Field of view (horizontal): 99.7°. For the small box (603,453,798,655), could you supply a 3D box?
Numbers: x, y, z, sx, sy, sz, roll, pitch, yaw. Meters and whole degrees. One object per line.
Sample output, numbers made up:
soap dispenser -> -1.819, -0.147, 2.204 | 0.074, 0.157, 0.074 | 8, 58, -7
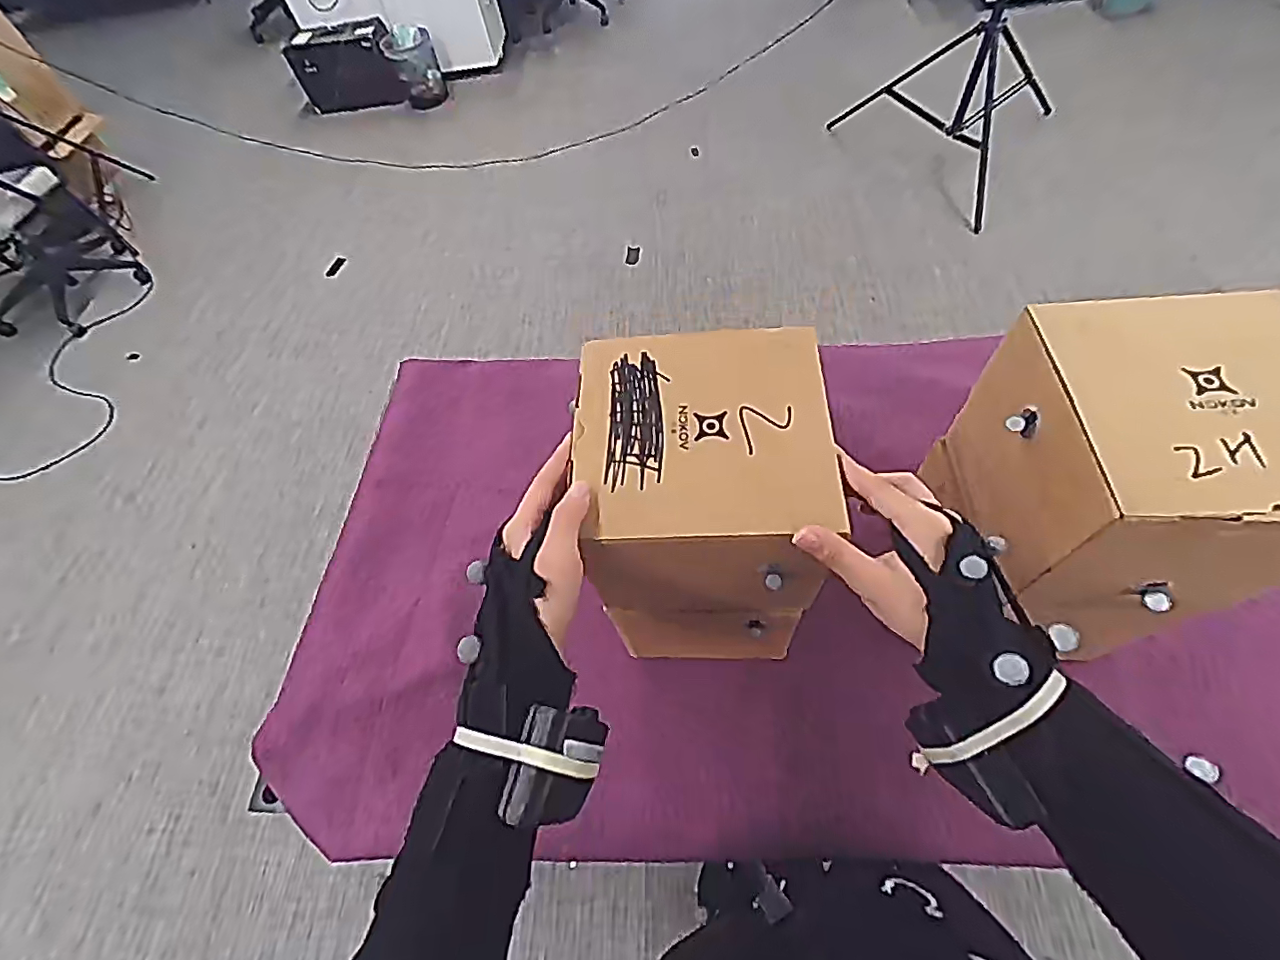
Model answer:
small box -> 0.065, 0.087, 0.586 | 0.179, 0.176, 0.168 | -1, 59, 6

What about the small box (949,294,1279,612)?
small box -> 0.363, -0.013, 0.409 | 0.168, 0.176, 0.179 | -1, 59, 8

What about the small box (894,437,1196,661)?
small box -> 0.377, 0.073, 0.550 | 0.168, 0.176, 0.179 | -1, 59, 8
